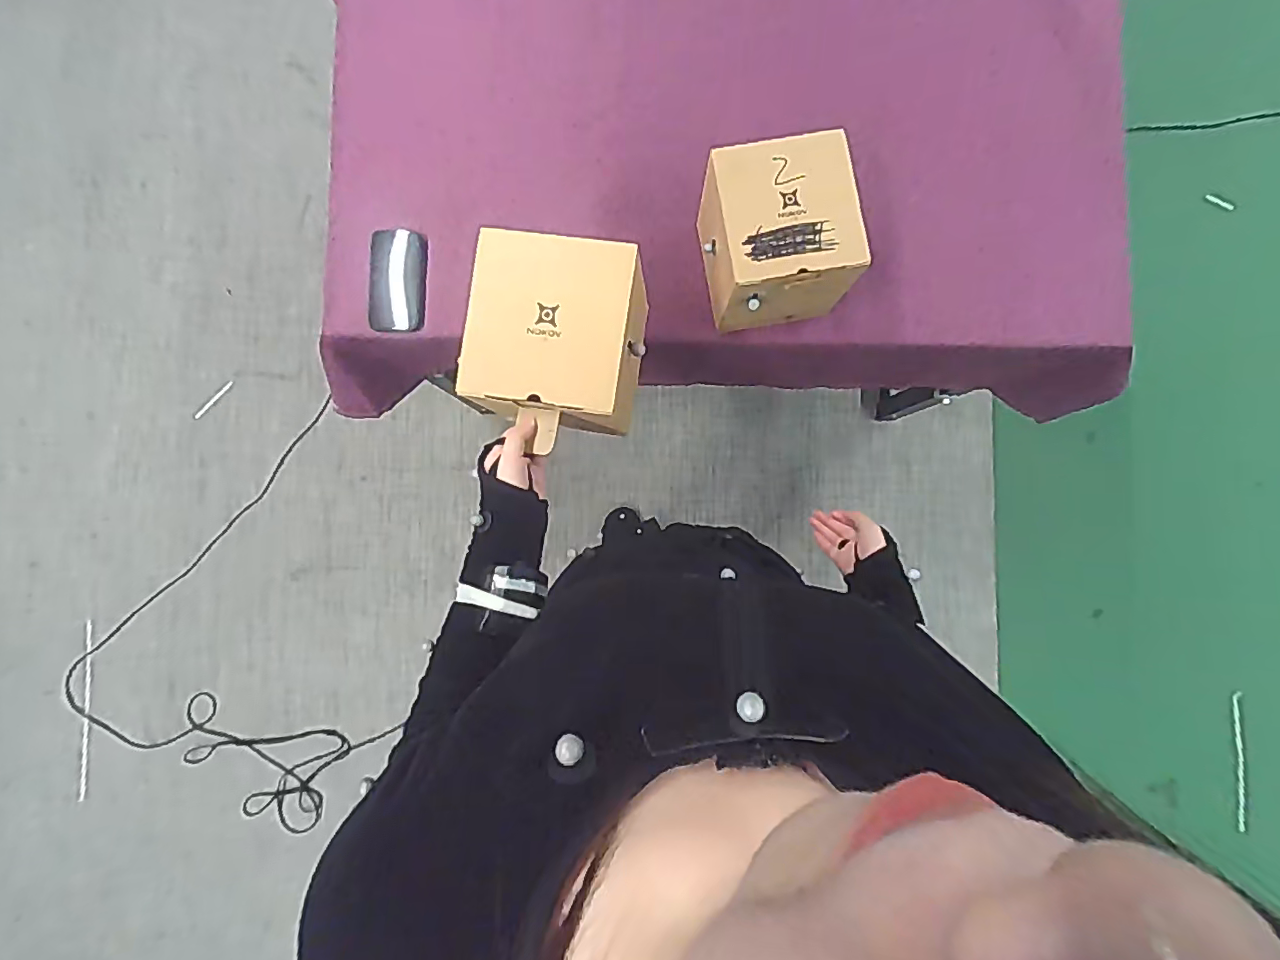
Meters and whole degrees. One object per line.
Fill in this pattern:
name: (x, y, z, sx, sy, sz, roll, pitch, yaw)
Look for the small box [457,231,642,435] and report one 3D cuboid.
small box: (-0.091, -0.158, 0.632, 0.168, 0.176, 0.179, 8, 89, 4)
